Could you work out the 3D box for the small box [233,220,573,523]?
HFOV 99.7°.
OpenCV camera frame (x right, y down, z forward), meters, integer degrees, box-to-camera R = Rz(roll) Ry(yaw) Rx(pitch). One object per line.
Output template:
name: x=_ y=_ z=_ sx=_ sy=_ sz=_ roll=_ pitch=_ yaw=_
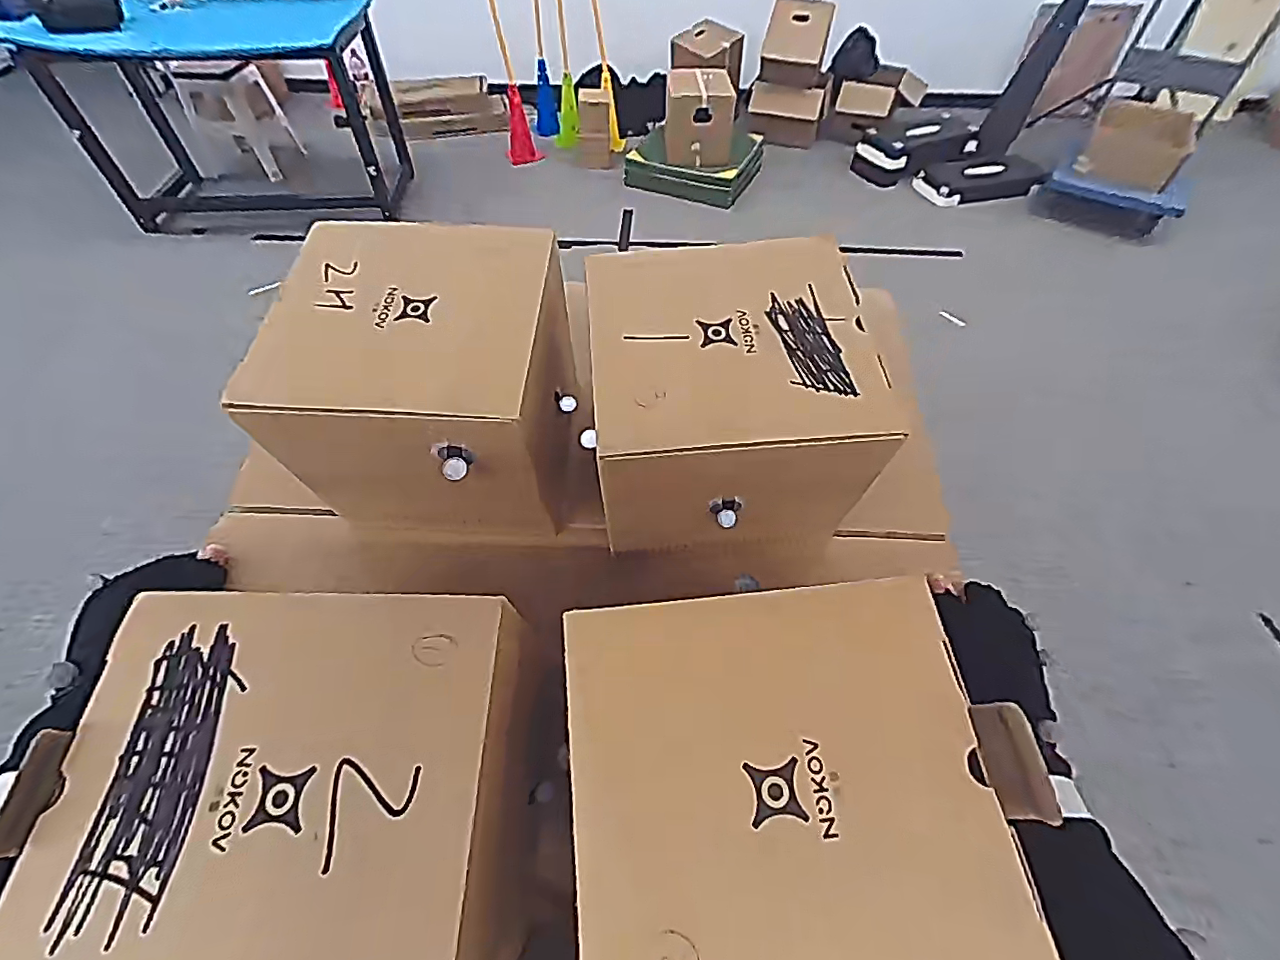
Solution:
small box: x=-0.153 y=-0.075 z=0.429 sx=0.179 sy=0.176 sz=0.168 roll=4 pitch=60 yaw=2
